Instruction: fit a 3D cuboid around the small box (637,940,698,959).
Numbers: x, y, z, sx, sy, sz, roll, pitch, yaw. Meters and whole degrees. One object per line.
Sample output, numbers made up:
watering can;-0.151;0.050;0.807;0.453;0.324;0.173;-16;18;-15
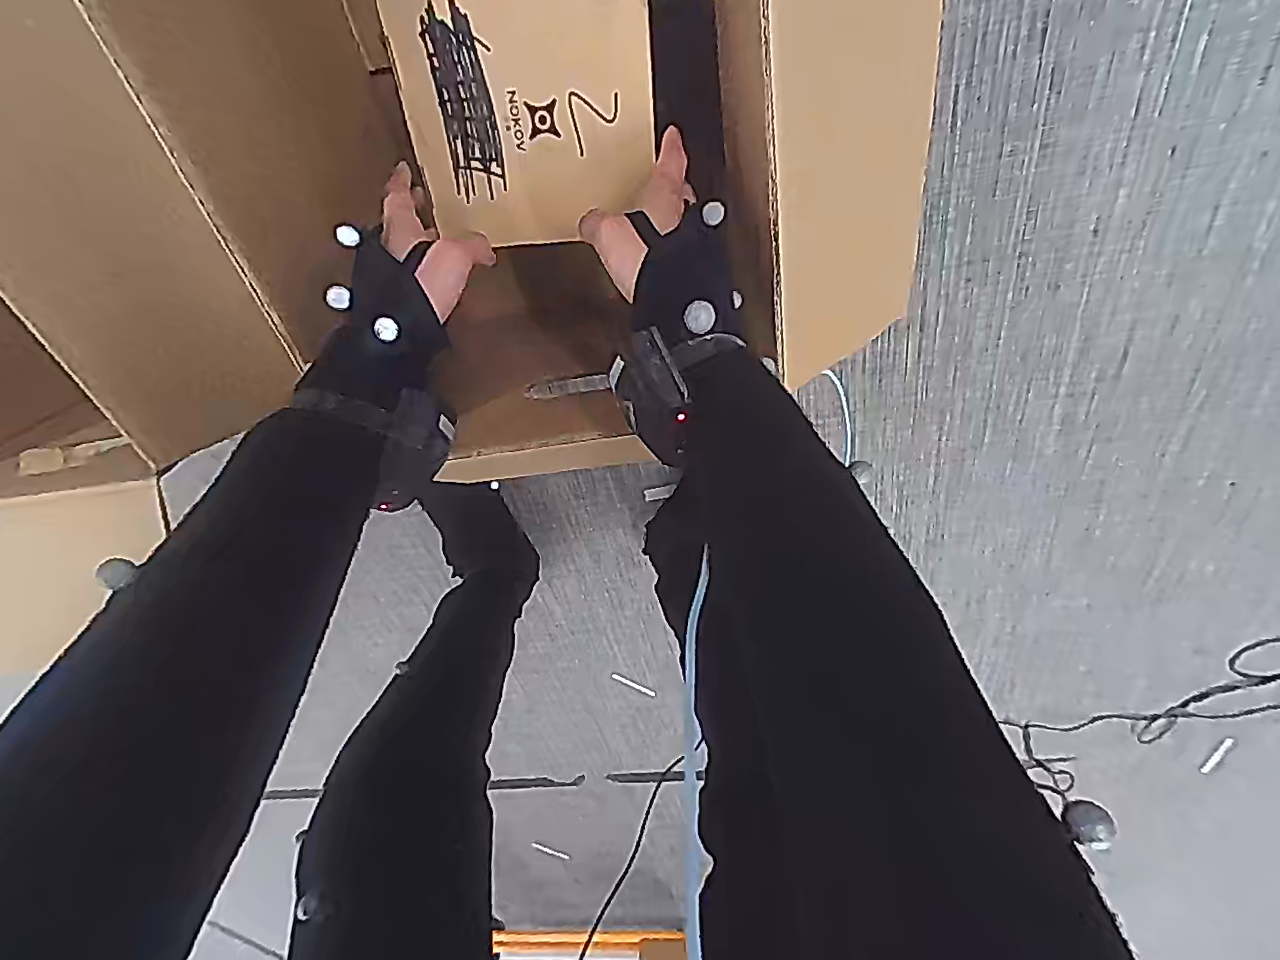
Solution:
small box;0.086;1.545;1.663;0.179;0.176;0.168;-9;125;13
